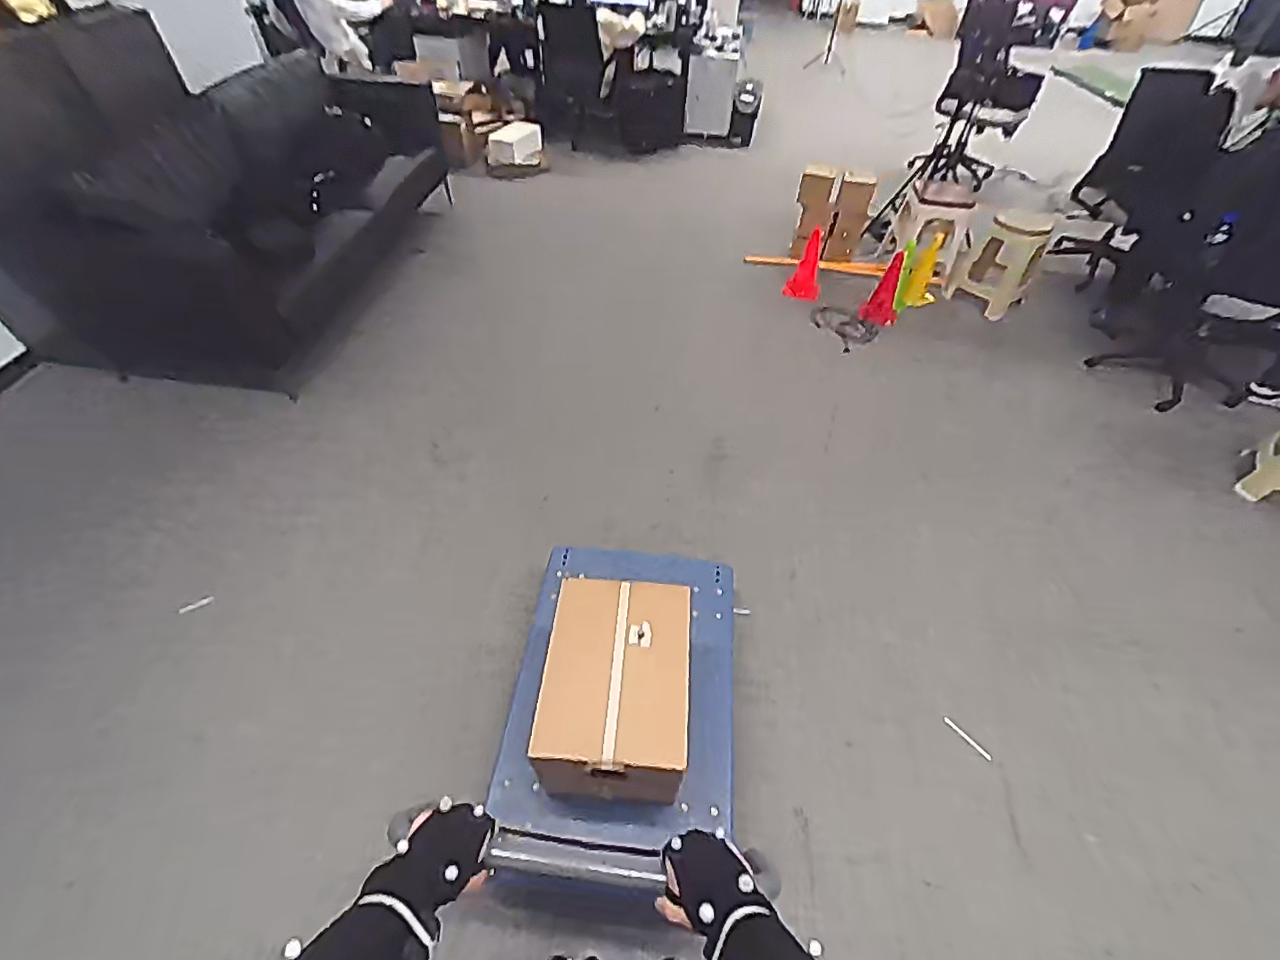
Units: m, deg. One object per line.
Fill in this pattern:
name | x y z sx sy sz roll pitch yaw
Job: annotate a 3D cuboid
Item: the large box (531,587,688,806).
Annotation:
large box | -0.052 0.515 1.291 0.320 0.320 0.408 4 48 2
